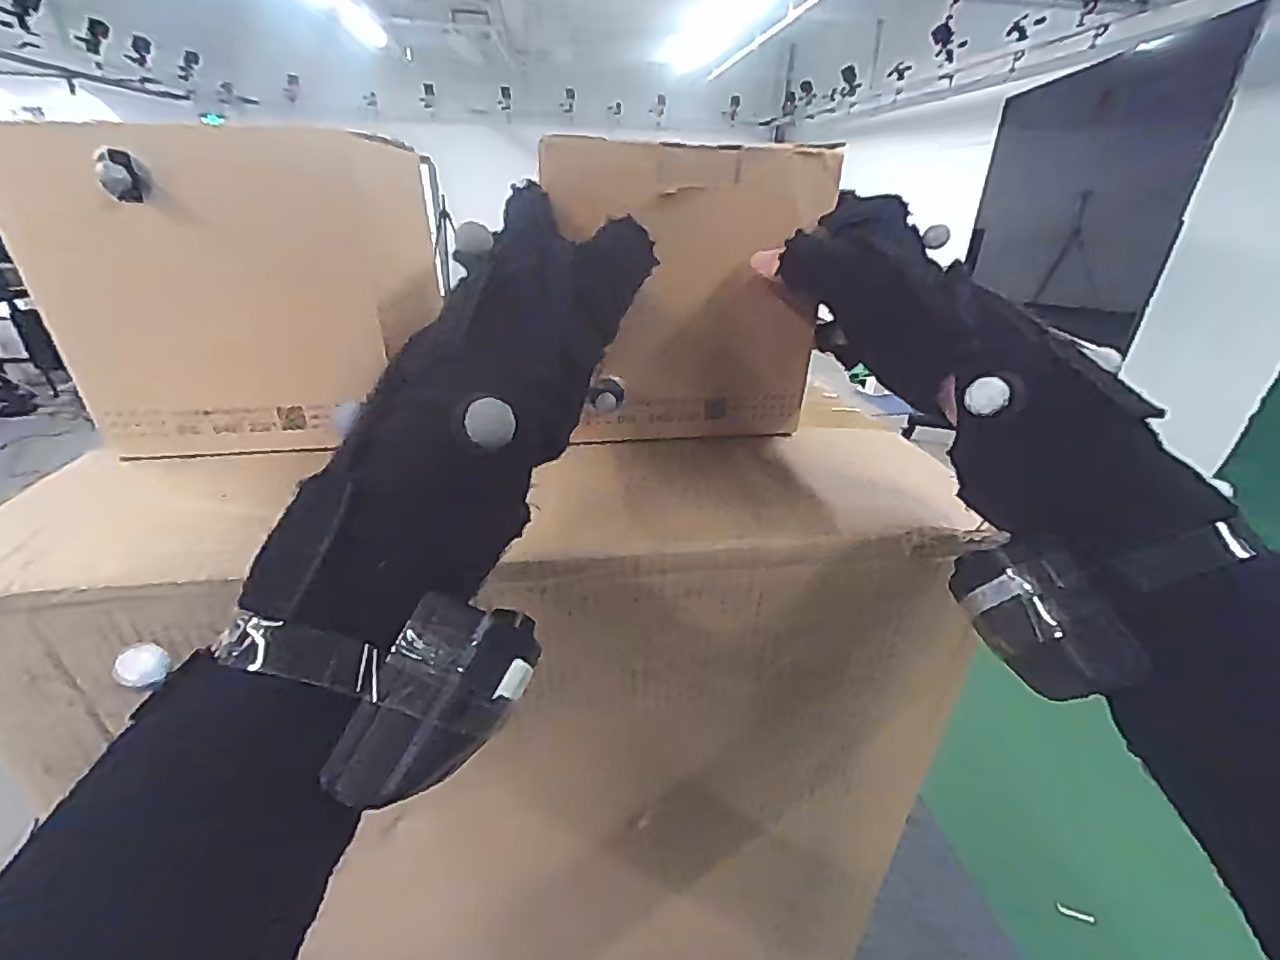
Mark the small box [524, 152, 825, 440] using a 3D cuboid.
[{"bbox_3d":[0.010,-0.133,0.391,0.168,0.176,0.179,-4,27,-8],"label":"small box"}]

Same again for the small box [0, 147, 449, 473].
[{"bbox_3d":[-0.236,-0.117,0.364,0.168,0.176,0.179,-5,28,-6],"label":"small box"}]
